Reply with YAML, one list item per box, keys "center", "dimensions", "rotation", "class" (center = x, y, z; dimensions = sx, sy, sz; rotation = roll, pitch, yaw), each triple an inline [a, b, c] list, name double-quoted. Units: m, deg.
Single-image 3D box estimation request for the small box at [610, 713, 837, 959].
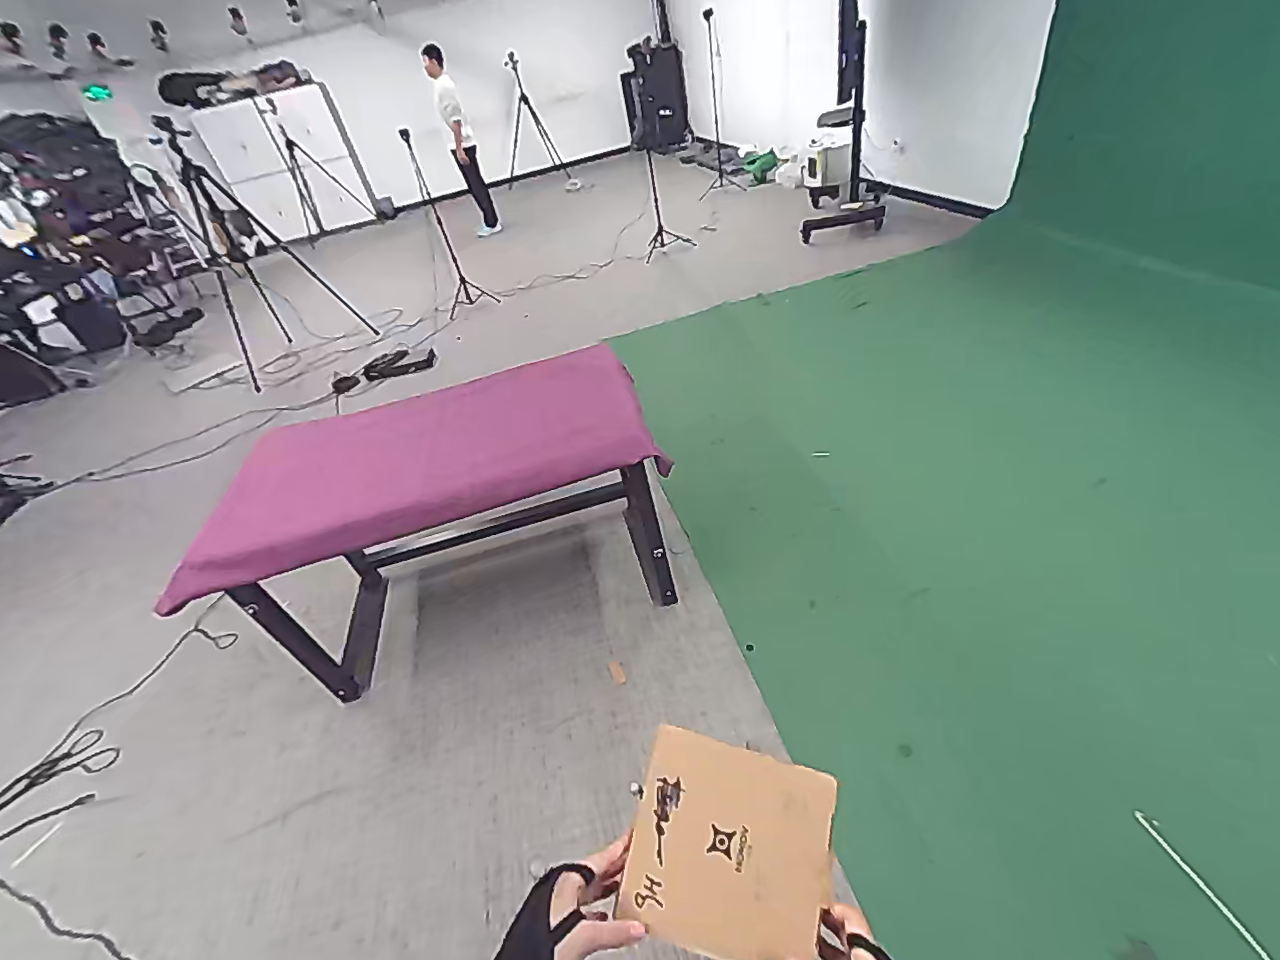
- center: [0.080, 0.350, 0.556]
  dimensions: [0.179, 0.176, 0.168]
  rotation: [14, 66, 8]
  class: "small box"
